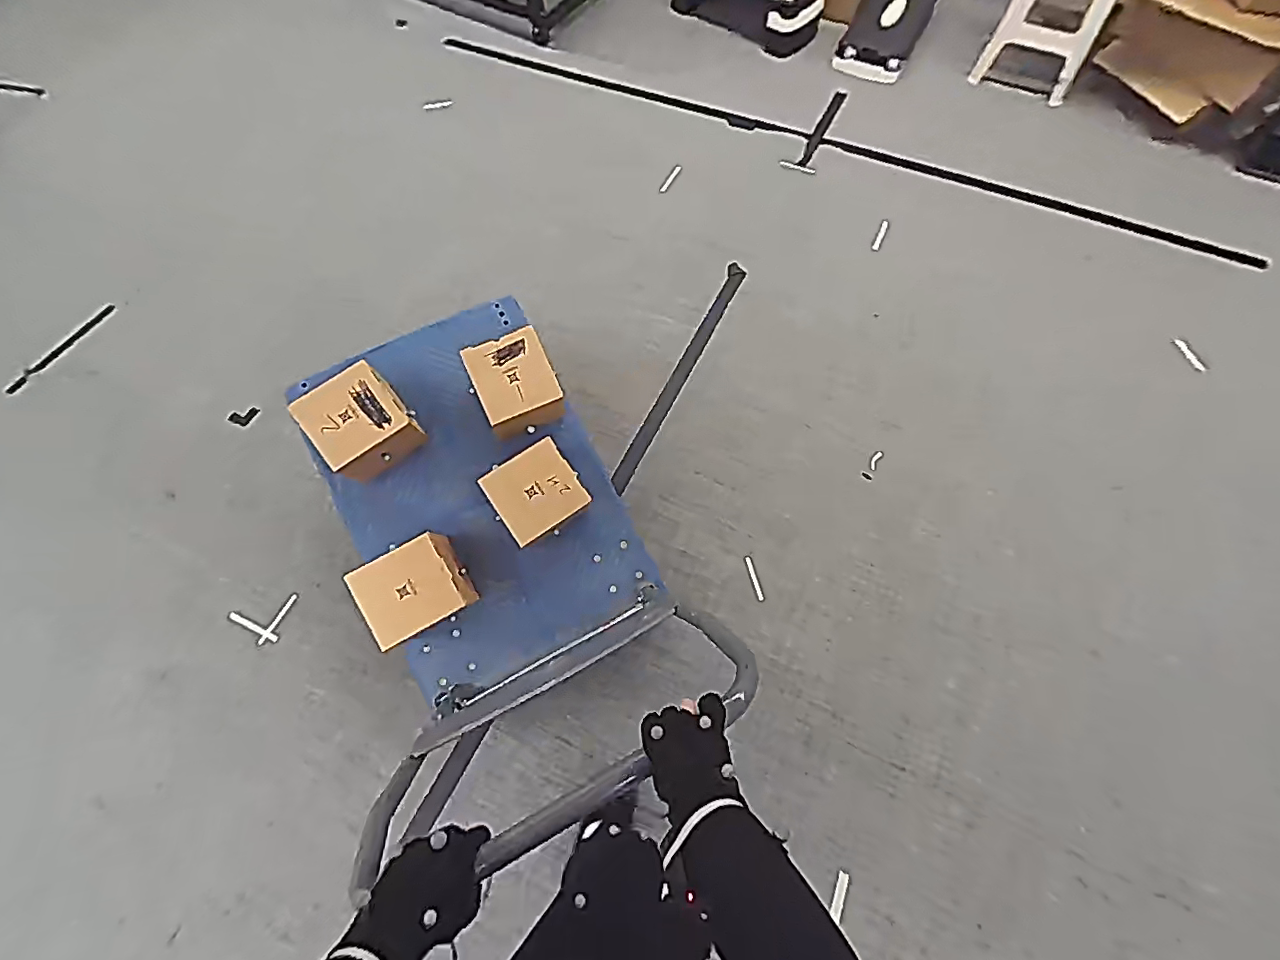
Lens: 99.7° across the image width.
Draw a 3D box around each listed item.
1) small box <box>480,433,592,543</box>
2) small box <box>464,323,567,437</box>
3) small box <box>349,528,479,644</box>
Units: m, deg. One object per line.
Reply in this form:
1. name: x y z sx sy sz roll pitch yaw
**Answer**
1. small box: -0.220 0.026 1.184 0.179 0.176 0.168 -34 87 -10
2. small box: -0.274 -0.218 1.216 0.168 0.176 0.179 -24 86 -10
3. small box: -0.458 0.219 1.126 0.179 0.176 0.168 -29 86 -12
